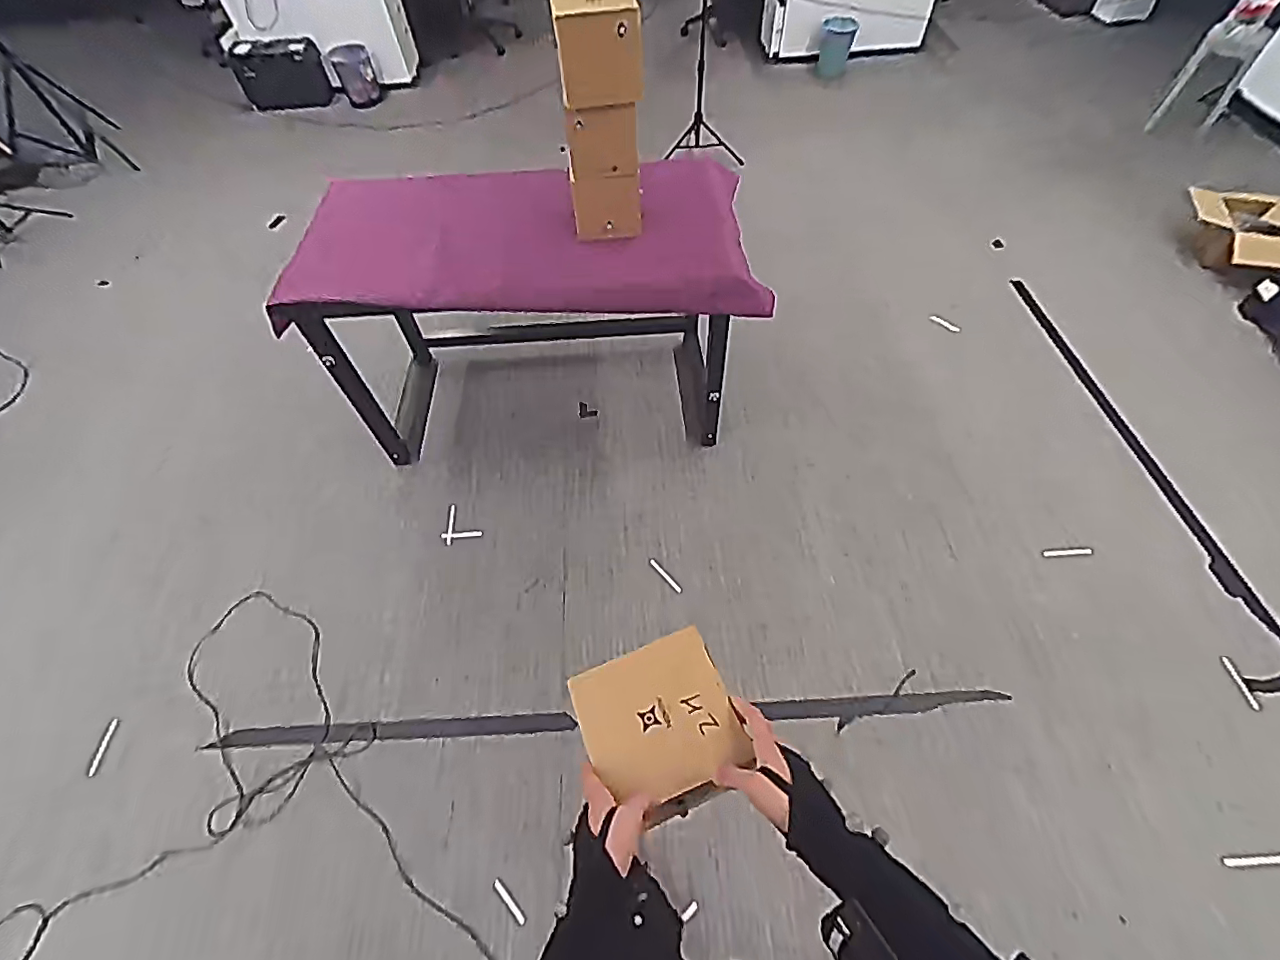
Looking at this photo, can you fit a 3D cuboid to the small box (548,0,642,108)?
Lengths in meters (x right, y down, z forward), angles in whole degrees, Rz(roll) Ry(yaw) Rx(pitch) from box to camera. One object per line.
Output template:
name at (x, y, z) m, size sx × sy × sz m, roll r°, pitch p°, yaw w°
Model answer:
small box at (-0.096, -0.940, 1.181) m, size 0.179 × 0.176 × 0.168 m, roll -9°, pitch 55°, yaw -3°

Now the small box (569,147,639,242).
small box at (-0.095, -0.769, 1.462) m, size 0.179 × 0.176 × 0.168 m, roll -6°, pitch 55°, yaw -2°

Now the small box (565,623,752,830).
small box at (0.027, 0.312, 0.676) m, size 0.179 × 0.176 × 0.168 m, roll -21°, pitch 54°, yaw -6°
